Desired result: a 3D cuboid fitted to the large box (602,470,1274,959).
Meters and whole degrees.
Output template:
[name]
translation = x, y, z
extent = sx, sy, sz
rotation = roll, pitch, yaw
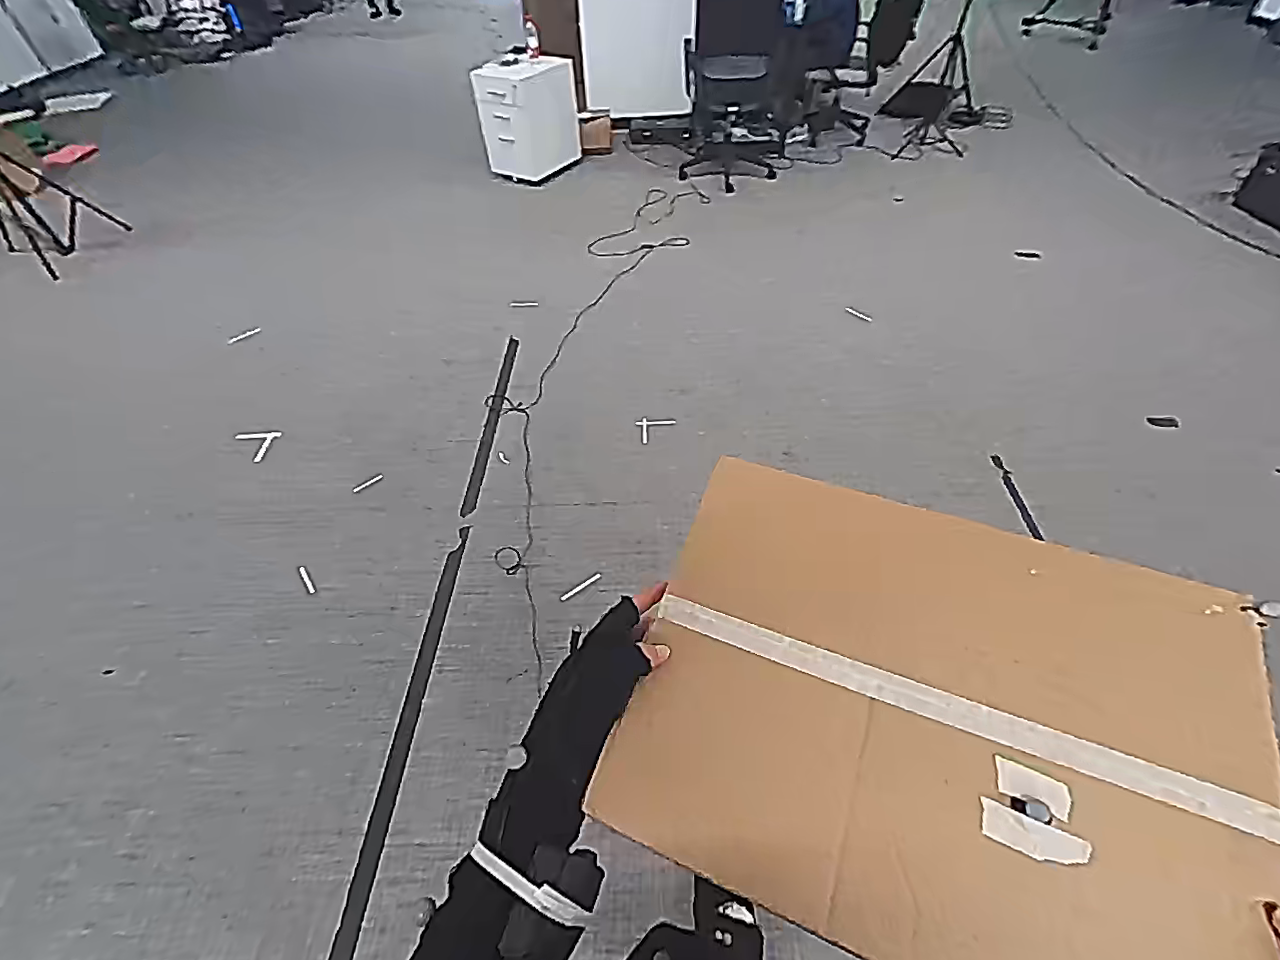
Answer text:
[large box]
translation = 0.223, 0.240, 0.525
extent = 0.408, 0.320, 0.320
rotation = 17, 62, 17
